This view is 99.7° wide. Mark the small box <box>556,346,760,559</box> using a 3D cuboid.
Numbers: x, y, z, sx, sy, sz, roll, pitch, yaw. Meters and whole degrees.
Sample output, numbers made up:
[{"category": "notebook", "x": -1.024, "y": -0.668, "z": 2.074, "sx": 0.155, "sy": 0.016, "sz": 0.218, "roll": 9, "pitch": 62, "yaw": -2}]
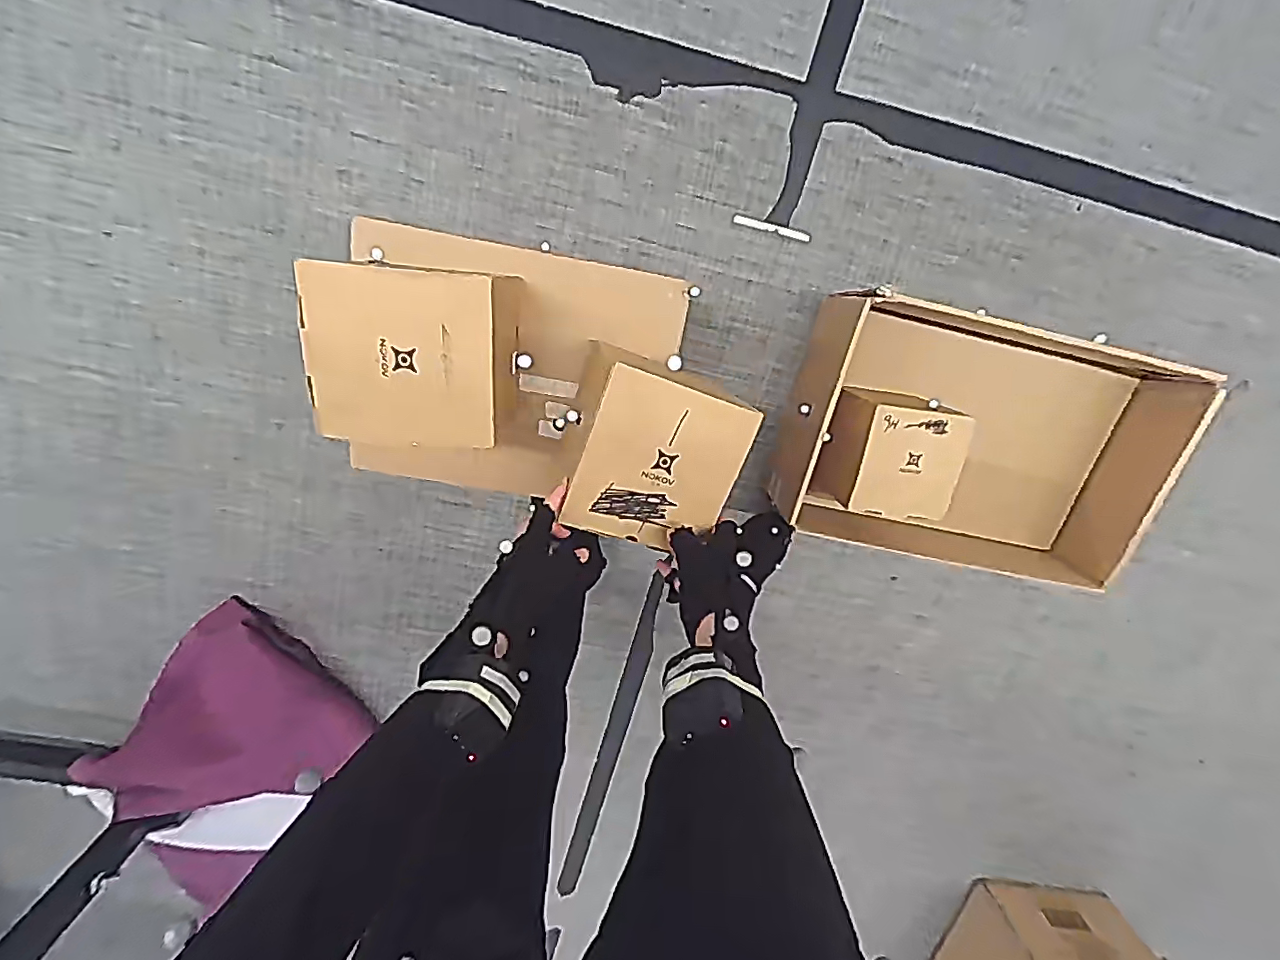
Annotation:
[{"category": "small box", "x": 0.006, "y": -0.039, "z": 0.627, "sx": 0.168, "sy": 0.176, "sz": 0.179, "roll": 17, "pitch": 105, "yaw": -18}]

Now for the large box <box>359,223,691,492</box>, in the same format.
[{"category": "large box", "x": -0.164, "y": -0.182, "z": 0.836, "sx": 0.408, "sy": 0.320, "sz": 0.320, "roll": 8, "pitch": 110, "yaw": -6}]
